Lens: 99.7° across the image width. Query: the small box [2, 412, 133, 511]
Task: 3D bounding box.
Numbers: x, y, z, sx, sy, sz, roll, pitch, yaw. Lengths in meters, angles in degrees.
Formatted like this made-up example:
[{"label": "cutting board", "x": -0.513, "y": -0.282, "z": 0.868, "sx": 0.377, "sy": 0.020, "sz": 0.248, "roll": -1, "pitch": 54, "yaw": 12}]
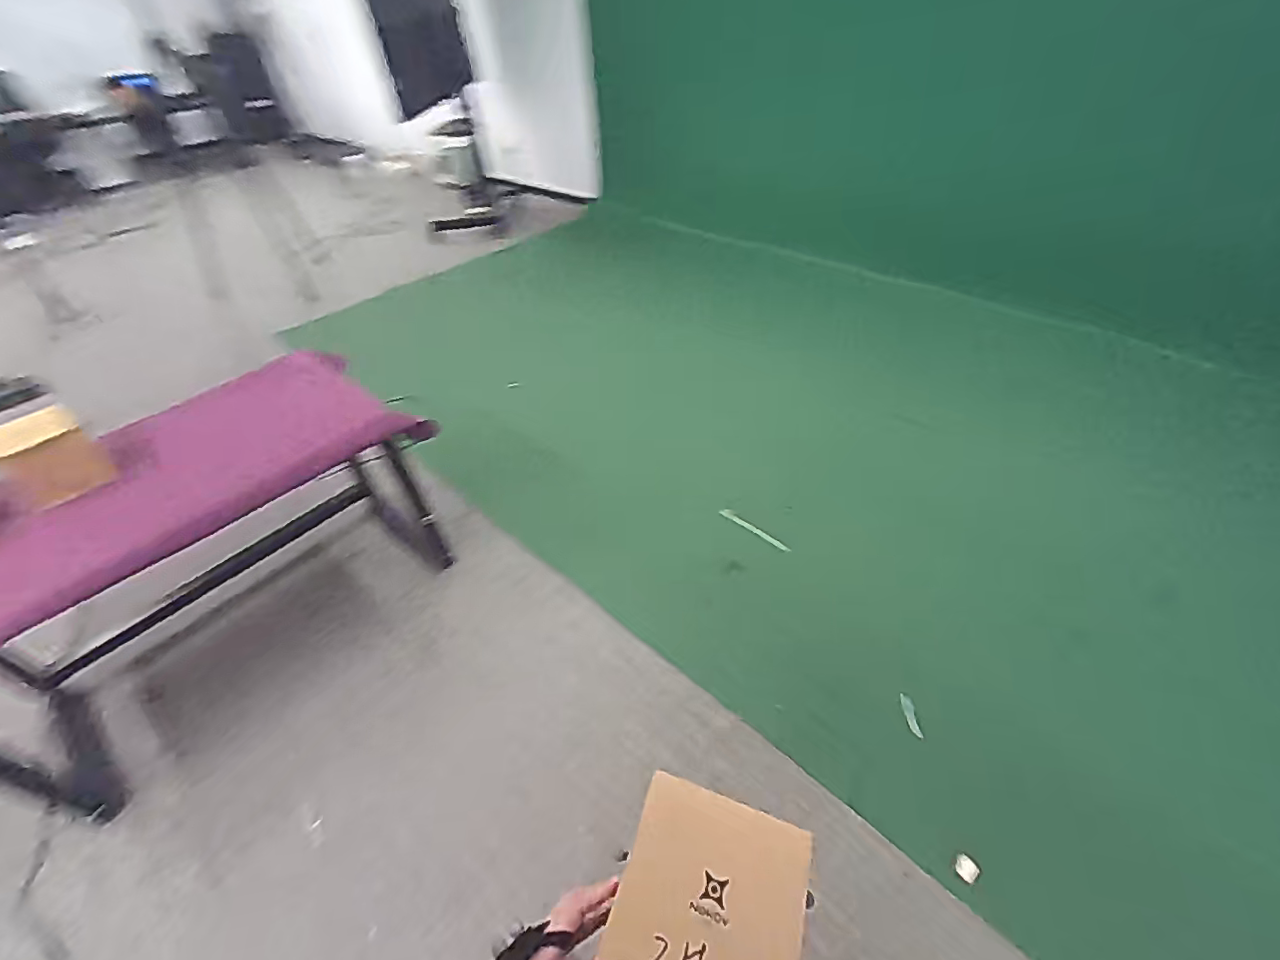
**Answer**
[{"label": "small box", "x": -1.510, "y": -0.047, "z": 1.433, "sx": 0.179, "sy": 0.176, "sz": 0.168, "roll": 30, "pitch": 54, "yaw": 30}]
